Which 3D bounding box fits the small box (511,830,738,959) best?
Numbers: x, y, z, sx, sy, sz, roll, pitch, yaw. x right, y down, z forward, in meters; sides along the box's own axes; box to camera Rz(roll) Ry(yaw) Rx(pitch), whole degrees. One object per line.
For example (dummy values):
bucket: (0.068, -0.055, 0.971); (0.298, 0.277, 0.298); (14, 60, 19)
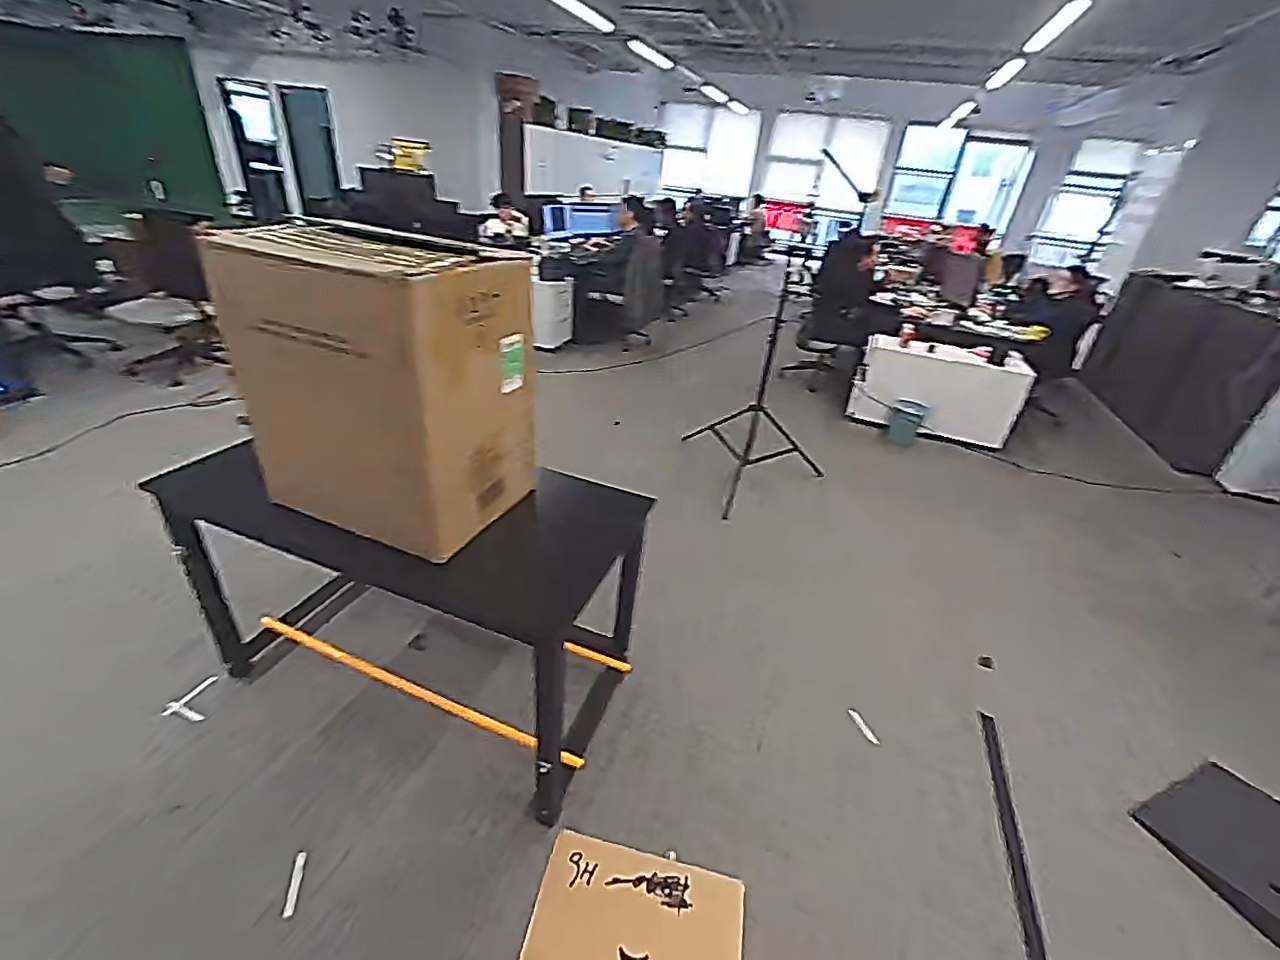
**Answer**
small box: (-0.020, 0.430, 0.439); (0.168, 0.176, 0.179); (10, 37, 7)
